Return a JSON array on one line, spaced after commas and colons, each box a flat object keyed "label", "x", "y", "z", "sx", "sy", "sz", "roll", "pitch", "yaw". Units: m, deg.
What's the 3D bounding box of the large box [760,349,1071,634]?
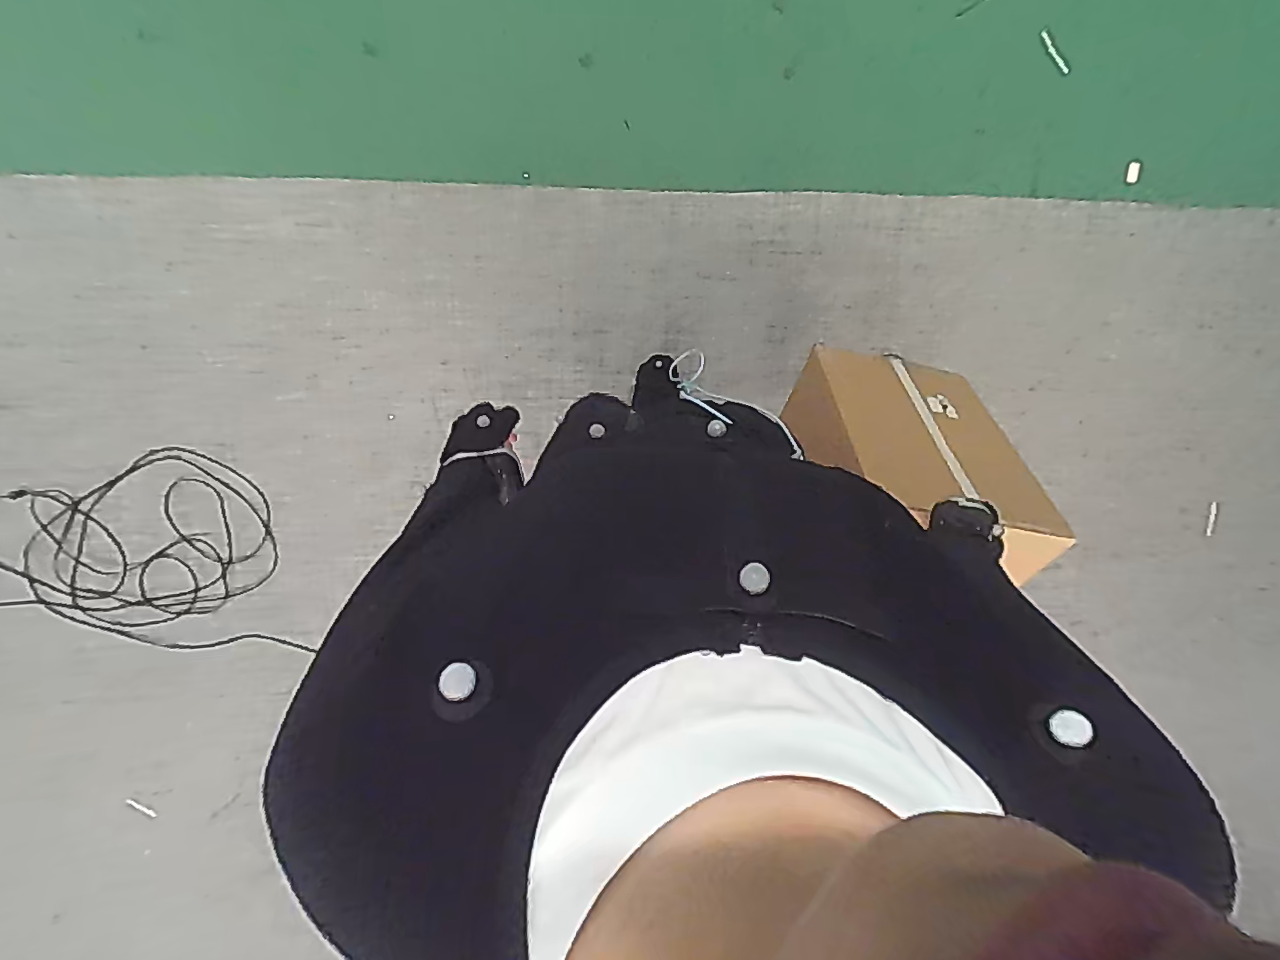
[{"label": "large box", "x": 0.439, "y": 0.021, "z": 0.989, "sx": 0.320, "sy": 0.408, "sz": 0.320, "roll": 10, "pitch": 134, "yaw": -8}]
